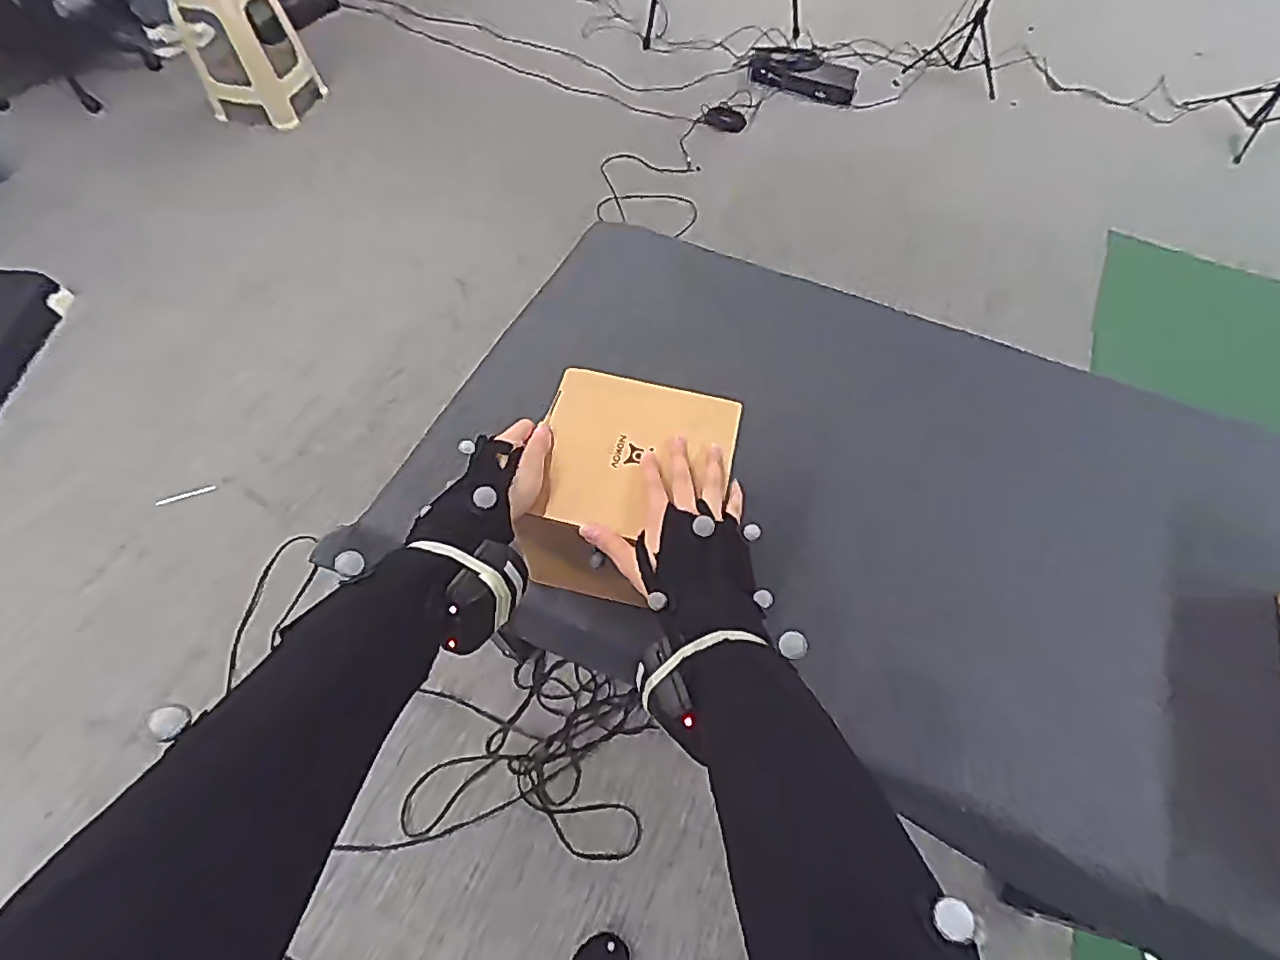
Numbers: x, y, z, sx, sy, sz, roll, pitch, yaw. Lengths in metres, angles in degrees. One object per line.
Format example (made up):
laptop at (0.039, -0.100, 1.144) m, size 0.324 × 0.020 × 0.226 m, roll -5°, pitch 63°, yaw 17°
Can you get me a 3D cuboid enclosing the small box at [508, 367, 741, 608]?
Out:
small box at (-0.010, 0.017, 0.547) m, size 0.179 × 0.176 × 0.168 m, roll 13°, pitch 60°, yaw 5°
